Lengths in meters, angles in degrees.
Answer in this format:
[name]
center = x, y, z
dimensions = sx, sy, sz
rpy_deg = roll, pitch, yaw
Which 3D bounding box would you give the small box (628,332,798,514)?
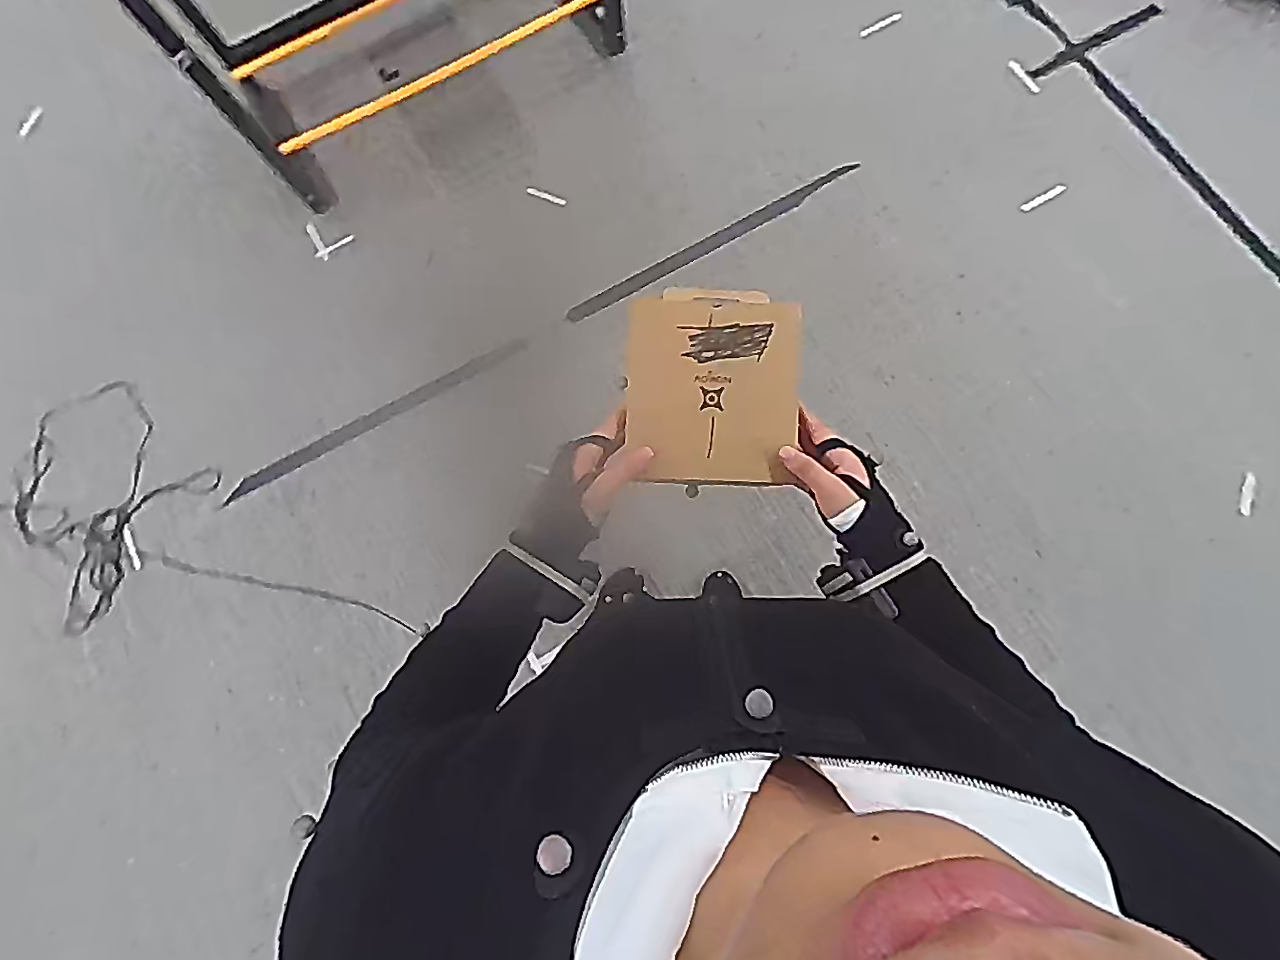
[small box]
center = 0.071, -0.054, 0.608
dimensions = 0.168, 0.176, 0.179
rpy_deg = 1, 89, 0
